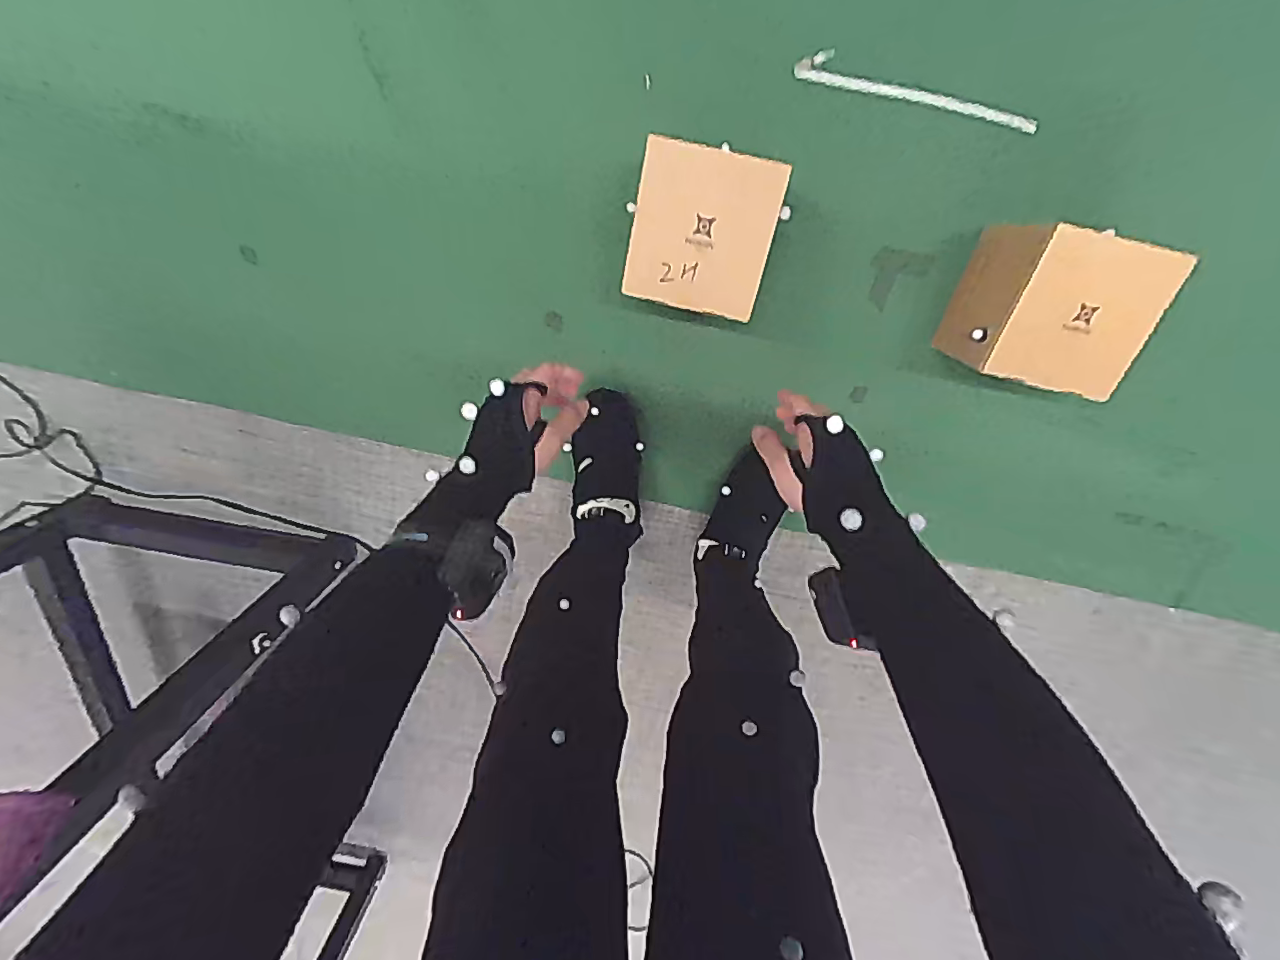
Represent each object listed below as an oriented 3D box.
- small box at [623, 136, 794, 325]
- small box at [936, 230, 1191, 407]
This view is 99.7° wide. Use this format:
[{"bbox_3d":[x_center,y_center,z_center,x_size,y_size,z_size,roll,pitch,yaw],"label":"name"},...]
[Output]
[{"bbox_3d":[0.083,-0.321,0.708,0.168,0.176,0.179,14,116,0],"label":"small box"},{"bbox_3d":[0.528,-0.220,0.711,0.168,0.176,0.179,14,117,-1],"label":"small box"}]
